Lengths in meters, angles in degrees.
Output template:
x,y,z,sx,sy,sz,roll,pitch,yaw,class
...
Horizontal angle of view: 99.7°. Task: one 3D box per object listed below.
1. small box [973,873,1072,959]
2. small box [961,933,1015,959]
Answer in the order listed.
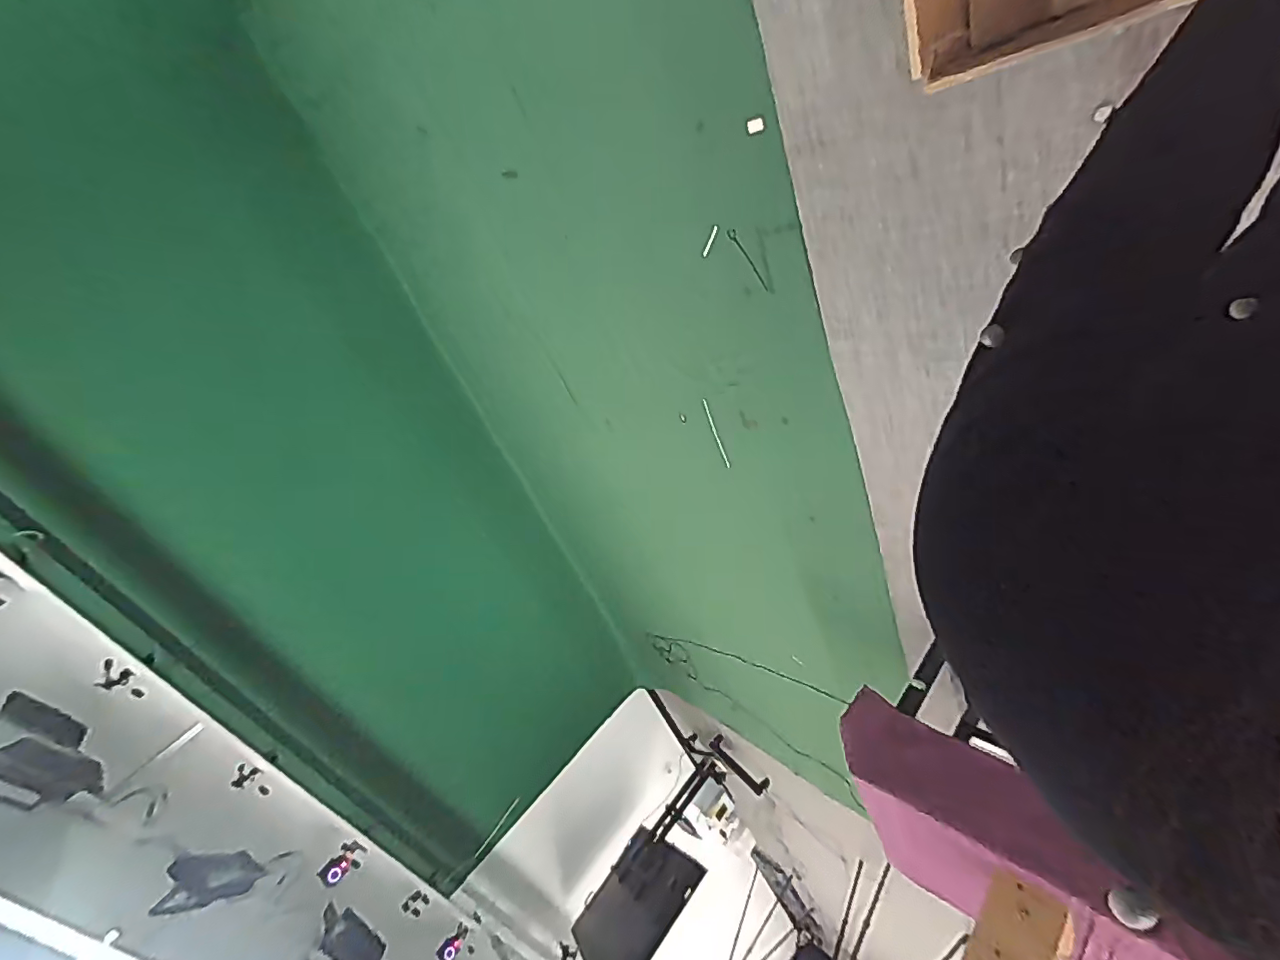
x,y,z,sx,sy,sz,roll,pitch,yaw,class
0.991,1.176,1.398,0.168,0.176,0.179,12,135,51,small box
0.882,1.274,1.327,0.168,0.176,0.179,14,137,49,small box
